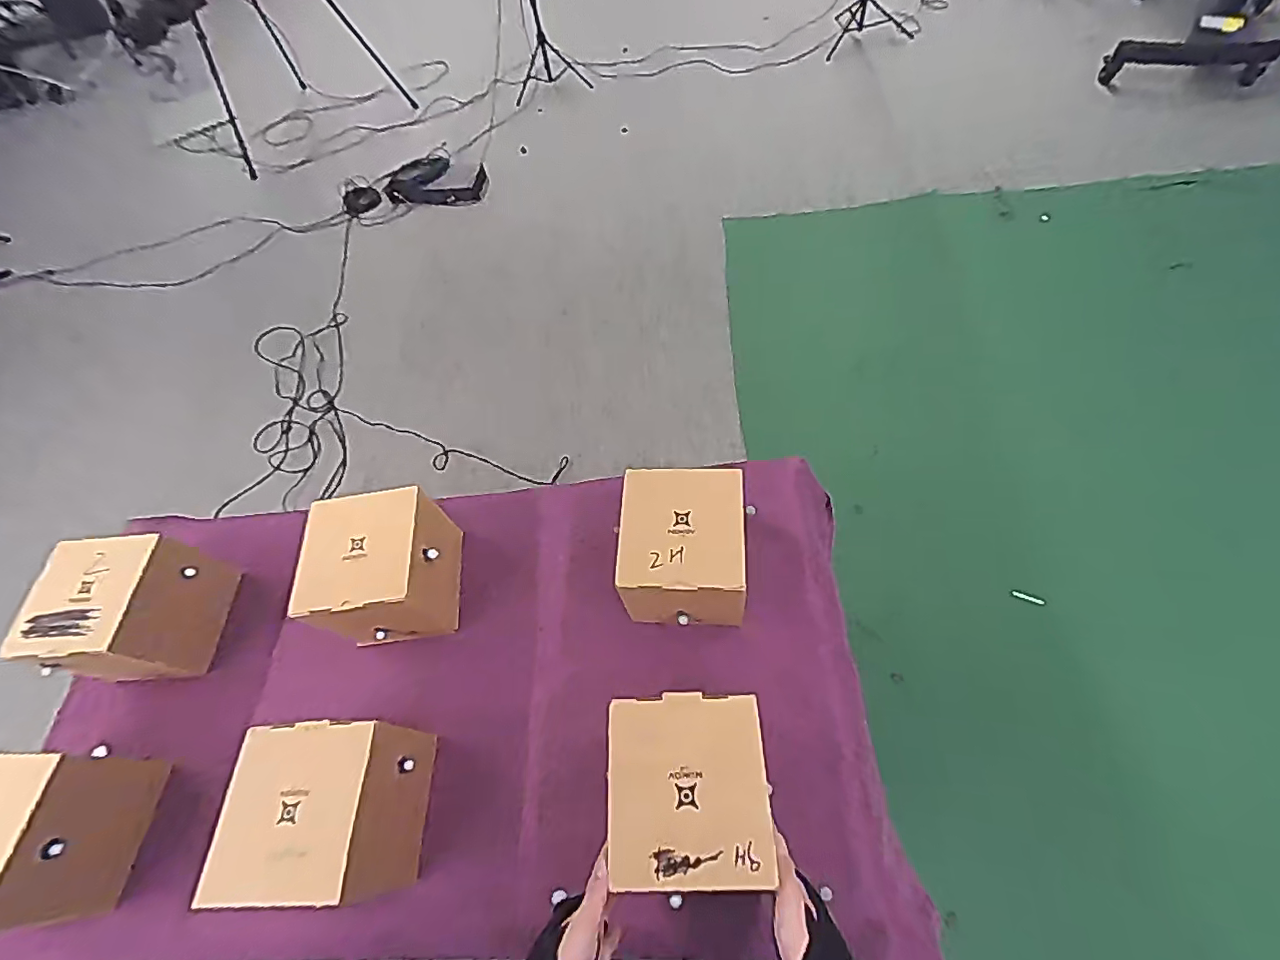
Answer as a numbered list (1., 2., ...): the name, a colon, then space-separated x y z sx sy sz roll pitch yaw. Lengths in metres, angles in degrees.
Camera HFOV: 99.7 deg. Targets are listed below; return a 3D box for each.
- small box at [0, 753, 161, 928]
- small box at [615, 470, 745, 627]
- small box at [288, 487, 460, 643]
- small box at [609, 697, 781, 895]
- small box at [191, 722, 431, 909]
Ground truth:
1. small box: -0.775 0.448 0.683 0.168 0.176 0.179 -2 58 5
2. small box: 0.064 0.101 0.782 0.168 0.176 0.179 0 61 8
3. small box: -0.386 0.134 0.821 0.168 0.176 0.179 -8 61 2
4. small box: 0.058 0.359 0.620 0.168 0.176 0.179 -4 58 4
5. small box: -0.378 0.404 0.664 0.168 0.176 0.179 -4 59 5
